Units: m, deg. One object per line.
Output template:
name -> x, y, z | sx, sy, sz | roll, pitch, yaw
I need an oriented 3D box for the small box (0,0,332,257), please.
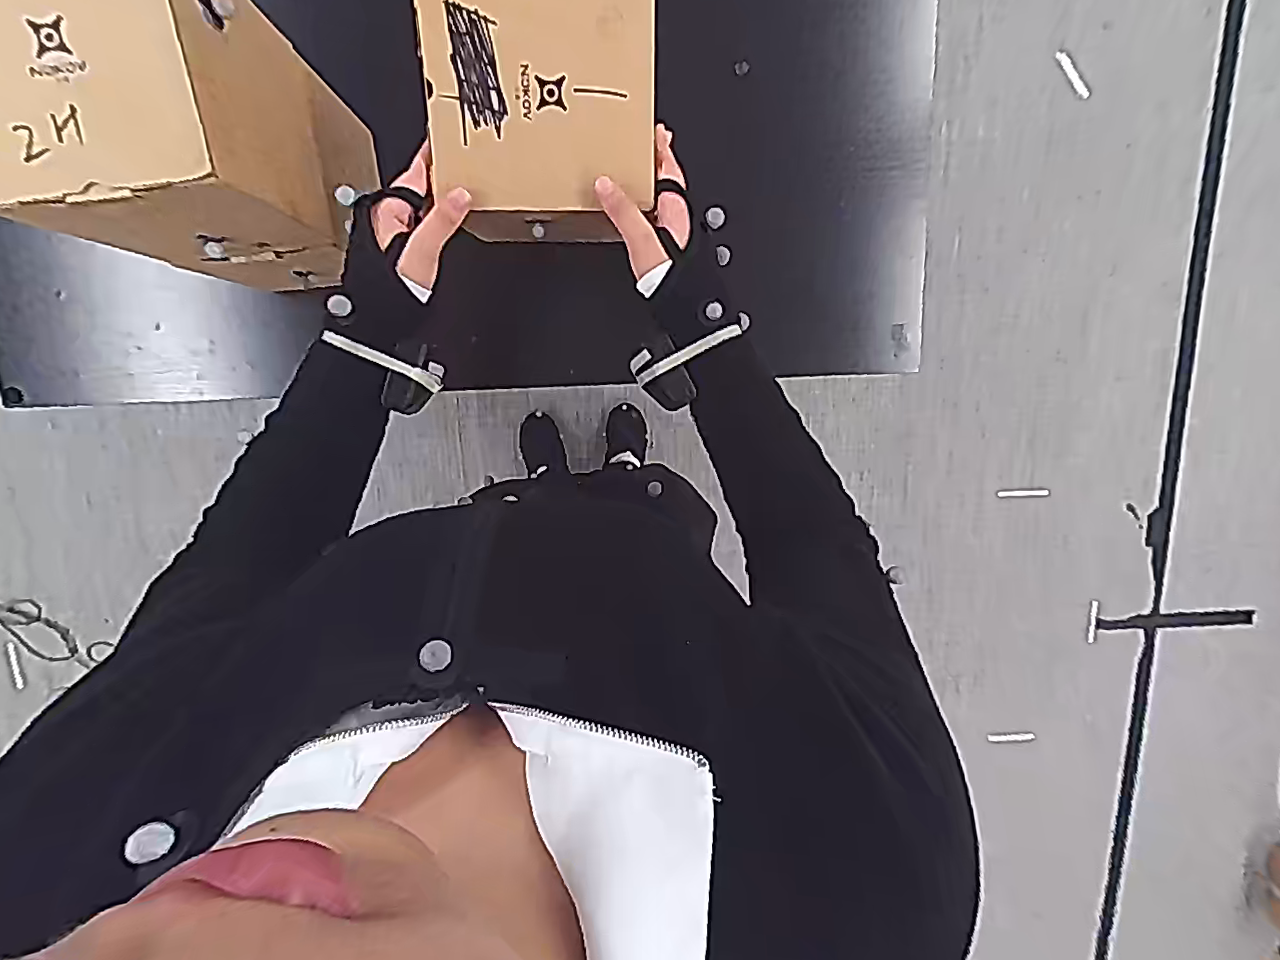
small box -> -0.386, -0.299, 0.437 | 0.168, 0.176, 0.179 | -8, 101, -2

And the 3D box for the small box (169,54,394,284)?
small box -> -0.396, -0.323, 0.601 | 0.168, 0.176, 0.179 | -7, 101, -2

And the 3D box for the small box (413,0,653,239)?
small box -> -0.079, -0.316, 0.481 | 0.179, 0.176, 0.168 | -1, 105, -2
